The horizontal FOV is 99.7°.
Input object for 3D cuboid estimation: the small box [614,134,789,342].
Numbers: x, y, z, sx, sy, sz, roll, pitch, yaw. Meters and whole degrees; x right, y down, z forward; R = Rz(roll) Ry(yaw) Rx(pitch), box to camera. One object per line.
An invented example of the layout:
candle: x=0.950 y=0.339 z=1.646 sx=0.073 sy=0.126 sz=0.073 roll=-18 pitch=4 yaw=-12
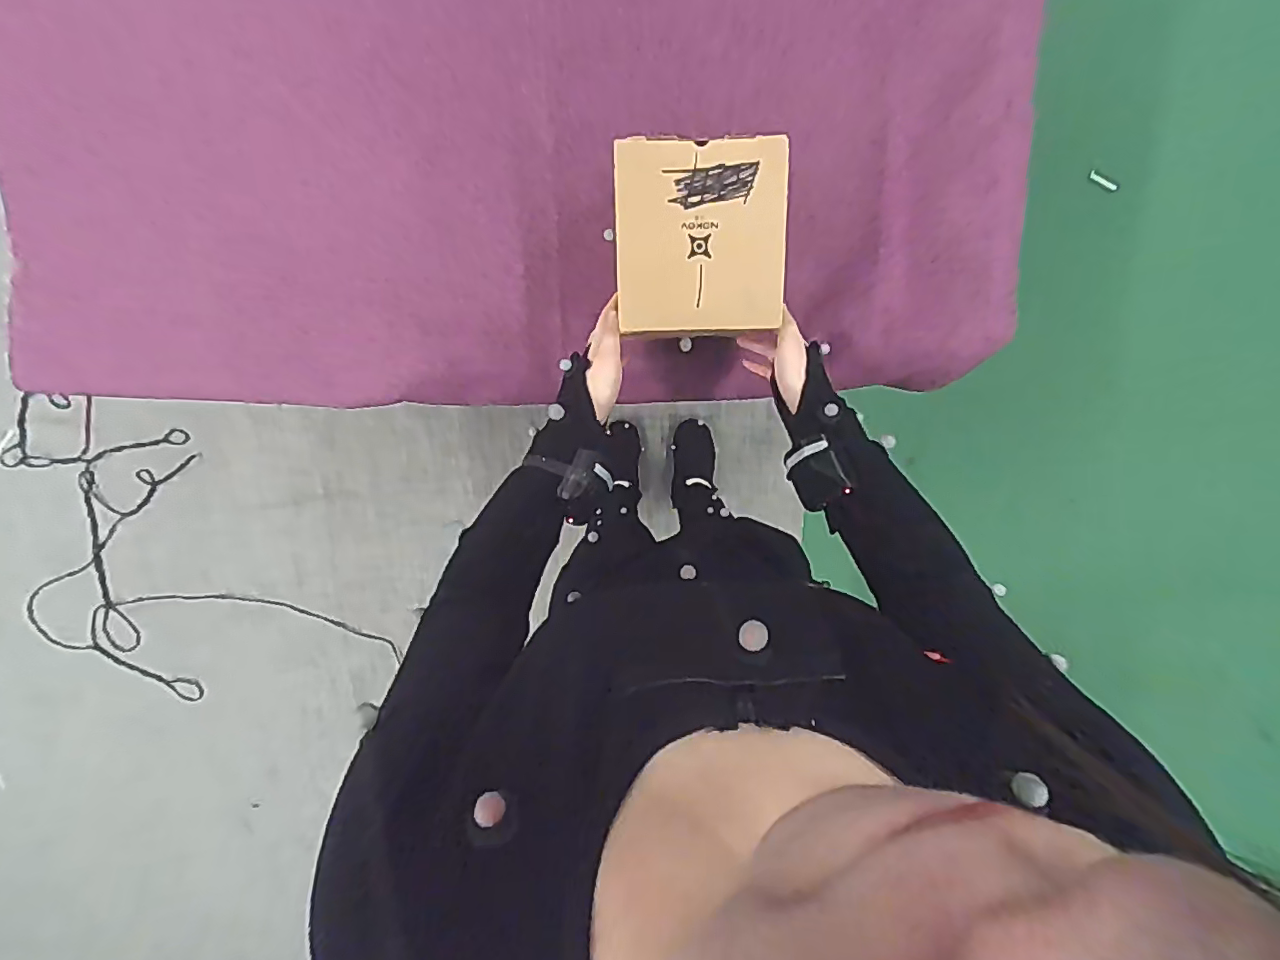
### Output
small box: x=0.057 y=-0.246 z=0.590 sx=0.168 sy=0.176 sz=0.179 roll=-1 pitch=102 yaw=1
